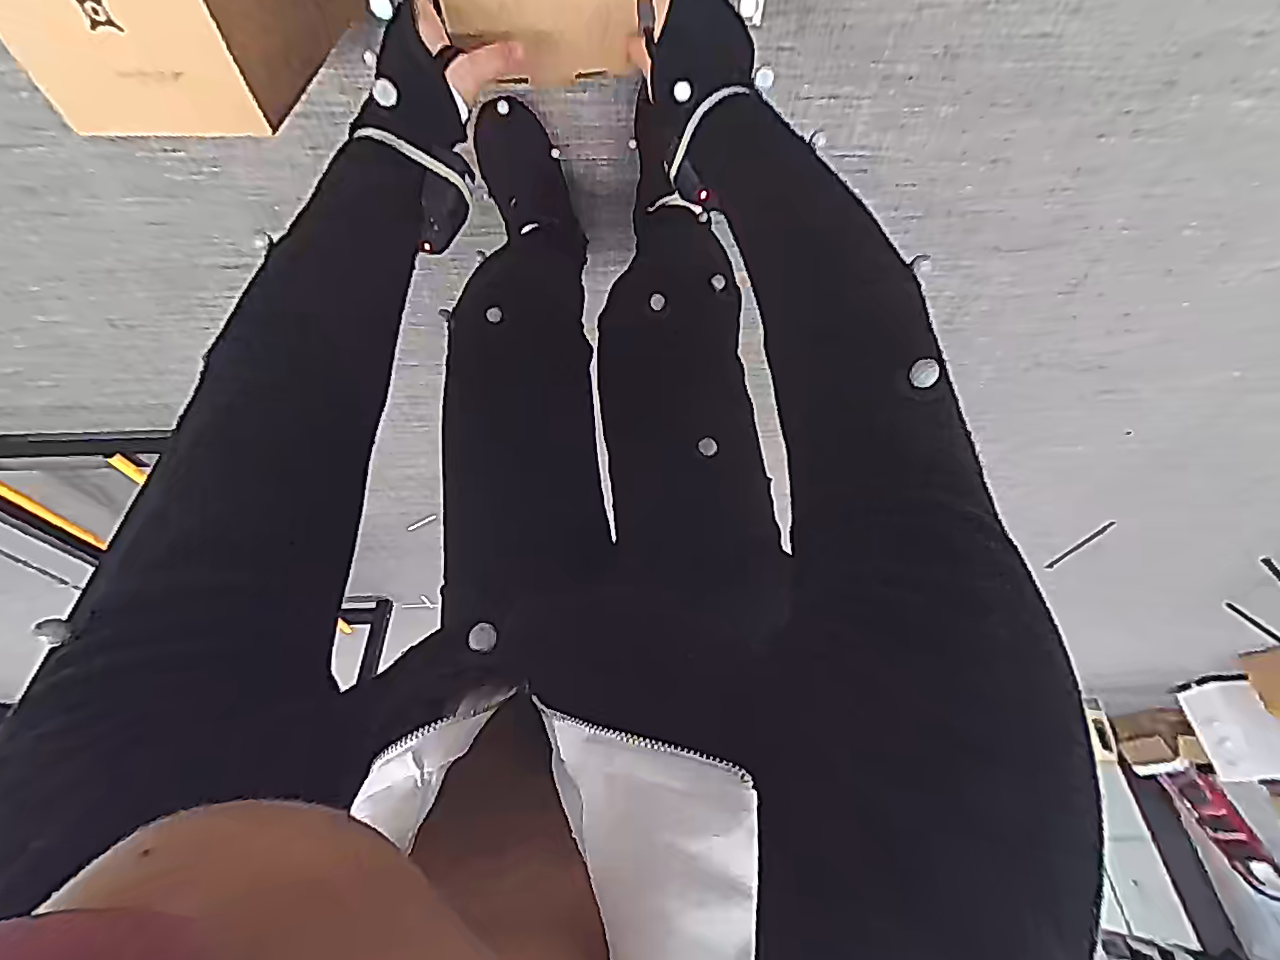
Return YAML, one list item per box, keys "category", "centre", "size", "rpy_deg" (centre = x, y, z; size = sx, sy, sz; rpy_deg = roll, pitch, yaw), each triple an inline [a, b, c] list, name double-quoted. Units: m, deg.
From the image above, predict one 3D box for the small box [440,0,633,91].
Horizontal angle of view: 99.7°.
- category: "small box"
  centre: [-0.090, -0.486, 0.482]
  size: [0.168, 0.176, 0.179]
  rpy_deg: [-3, 148, 1]

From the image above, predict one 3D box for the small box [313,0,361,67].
- category: "small box"
  centre: [-0.397, -0.535, 0.527]
  size: [0.179, 0.176, 0.168]
  rpy_deg: [0, 146, -2]

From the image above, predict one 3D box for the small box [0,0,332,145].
- category: "small box"
  centre: [-0.385, -0.402, 0.434]
  size: [0.168, 0.176, 0.179]
  rpy_deg: [0, 148, -1]
